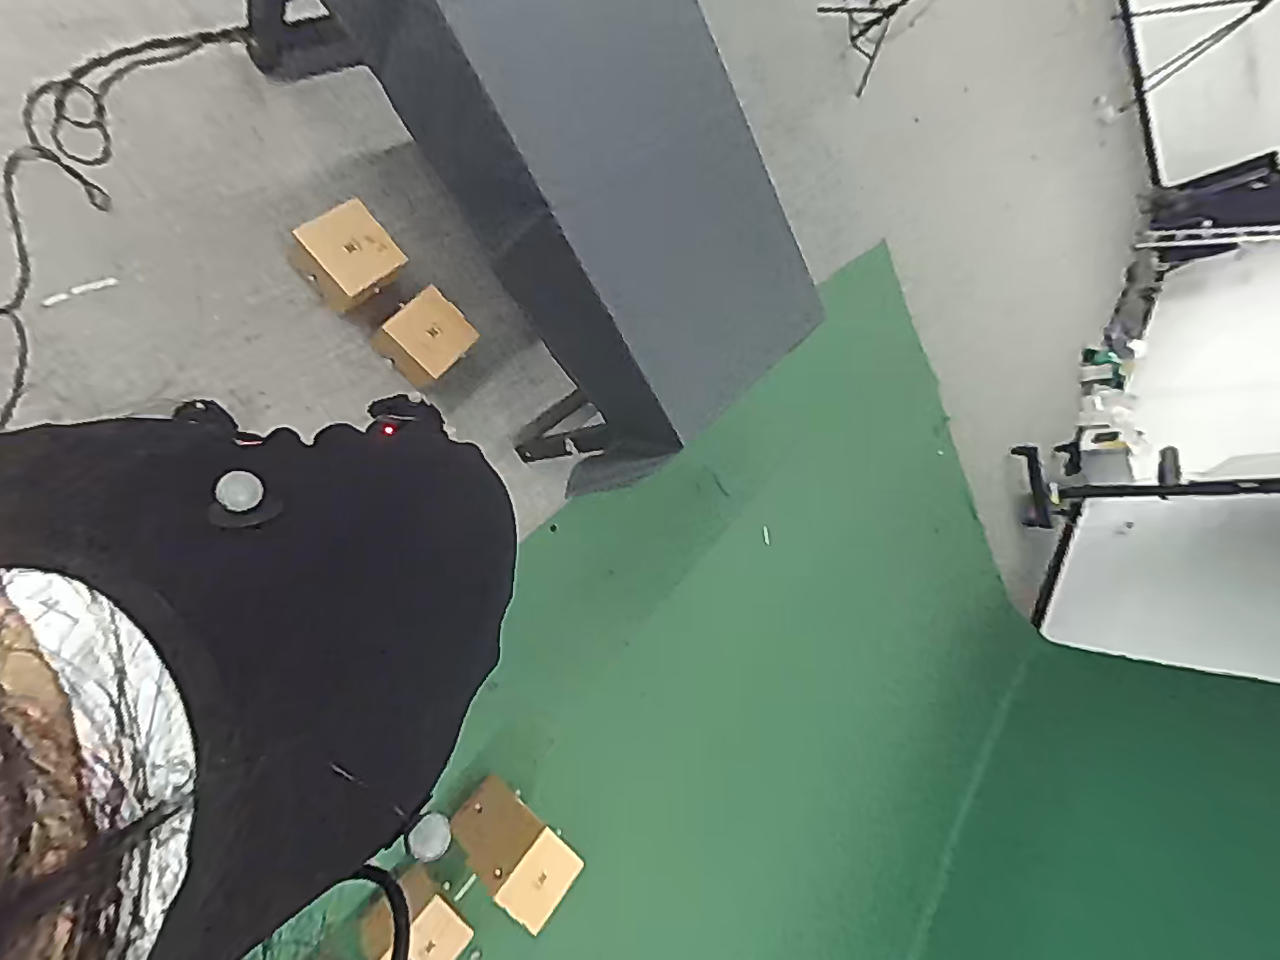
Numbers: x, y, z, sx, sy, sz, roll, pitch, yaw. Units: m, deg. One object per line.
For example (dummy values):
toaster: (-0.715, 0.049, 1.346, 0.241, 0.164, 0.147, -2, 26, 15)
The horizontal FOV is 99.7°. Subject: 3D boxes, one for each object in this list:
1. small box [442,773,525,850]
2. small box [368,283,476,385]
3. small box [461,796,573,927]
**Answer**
small box: (-0.405, 0.932, 1.469, 0.168, 0.176, 0.179, -43, 113, -30)
small box: (-0.564, -0.368, 1.386, 0.168, 0.176, 0.179, 48, 61, -26)
small box: (-0.307, 0.930, 1.337, 0.179, 0.176, 0.168, -45, 115, -29)
